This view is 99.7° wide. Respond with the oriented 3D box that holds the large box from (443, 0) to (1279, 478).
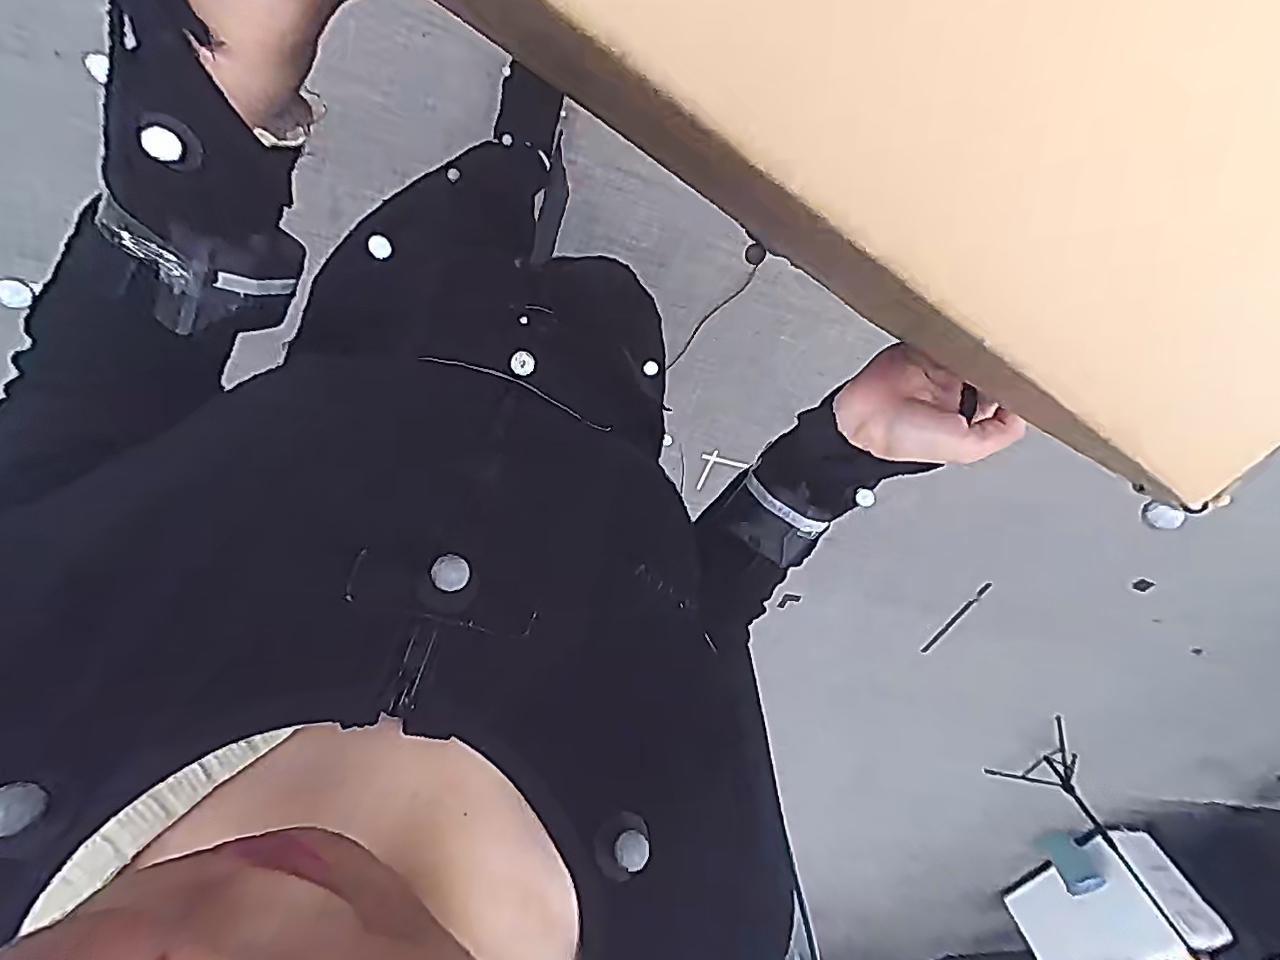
[{"bbox_3d":[0.094,-0.272,0.187,0.408,0.320,0.320,25,118,-18],"label":"large box"}]
